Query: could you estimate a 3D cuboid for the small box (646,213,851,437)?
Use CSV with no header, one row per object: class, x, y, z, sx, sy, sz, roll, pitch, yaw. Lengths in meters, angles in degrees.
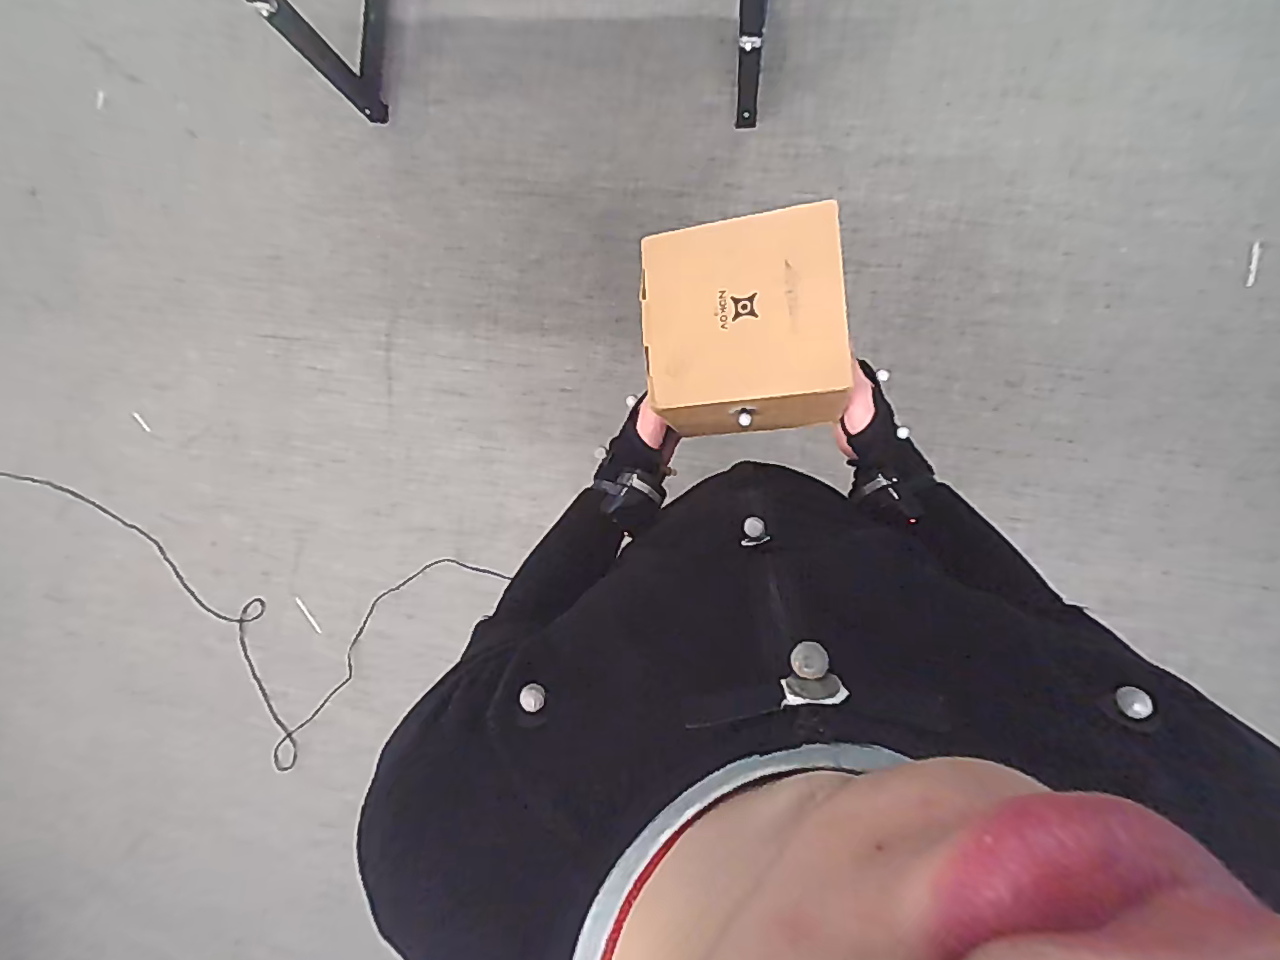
small box,0.113,-0.142,0.563,0.179,0.176,0.168,-4,85,14
